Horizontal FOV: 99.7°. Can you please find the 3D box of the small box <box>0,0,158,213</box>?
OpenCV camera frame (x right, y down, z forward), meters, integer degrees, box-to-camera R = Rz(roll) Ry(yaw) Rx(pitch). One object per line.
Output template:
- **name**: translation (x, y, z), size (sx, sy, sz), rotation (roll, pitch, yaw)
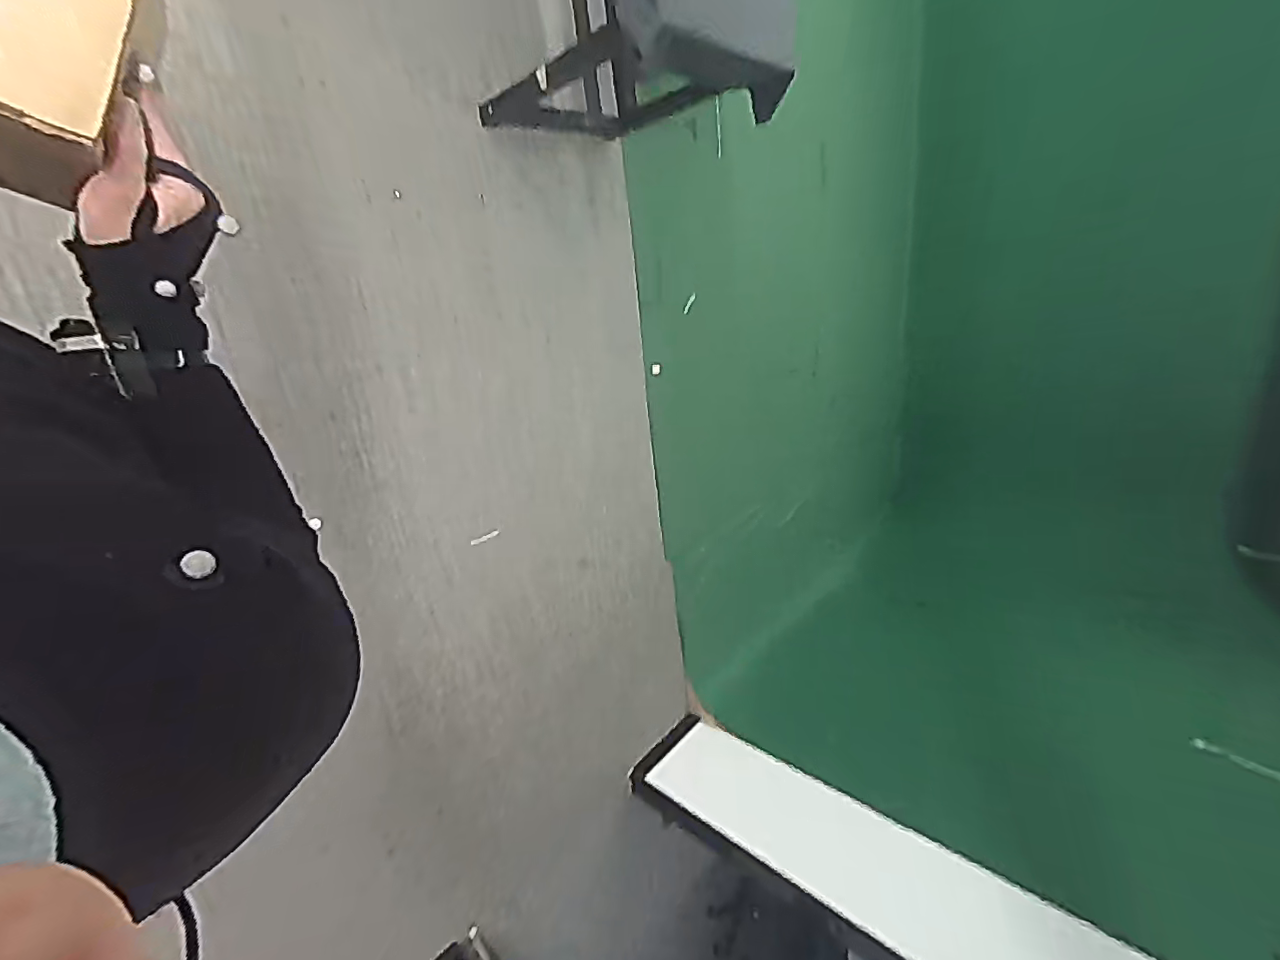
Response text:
- **small box**: translation (-0.420, -0.300, 0.331), size (0.168, 0.176, 0.179), rotation (12, 85, -40)
